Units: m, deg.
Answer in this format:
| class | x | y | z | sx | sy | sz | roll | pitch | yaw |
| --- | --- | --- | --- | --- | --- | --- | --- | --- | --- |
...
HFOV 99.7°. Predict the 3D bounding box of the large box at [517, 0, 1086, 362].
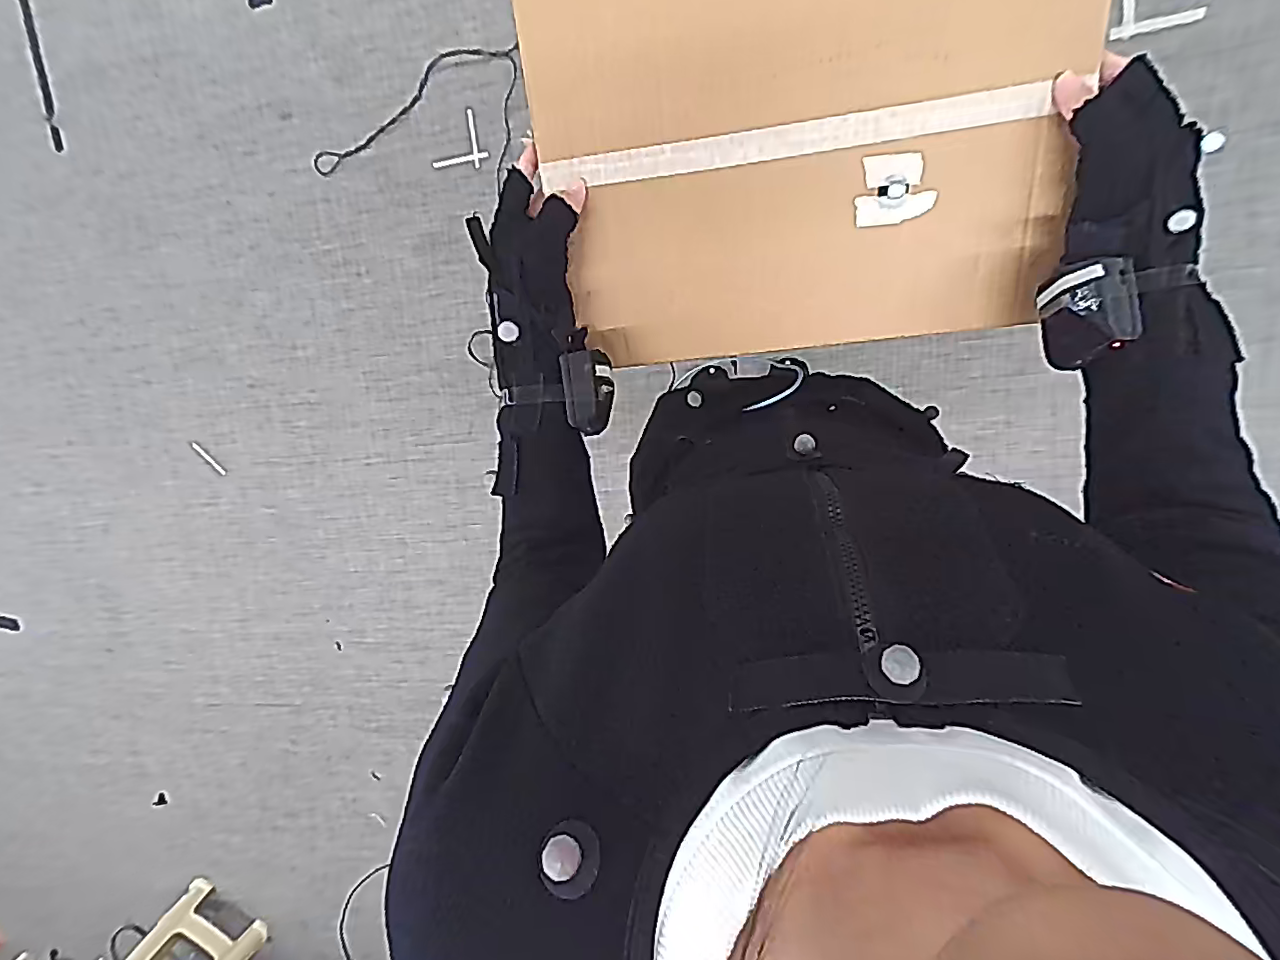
| class | x | y | z | sx | sy | sz | roll | pitch | yaw |
| --- | --- | --- | --- | --- | --- | --- | --- | --- | --- |
| large box | 0.129 | -0.323 | 0.557 | 0.408 | 0.320 | 0.320 | -5 | 112 | 6 |
